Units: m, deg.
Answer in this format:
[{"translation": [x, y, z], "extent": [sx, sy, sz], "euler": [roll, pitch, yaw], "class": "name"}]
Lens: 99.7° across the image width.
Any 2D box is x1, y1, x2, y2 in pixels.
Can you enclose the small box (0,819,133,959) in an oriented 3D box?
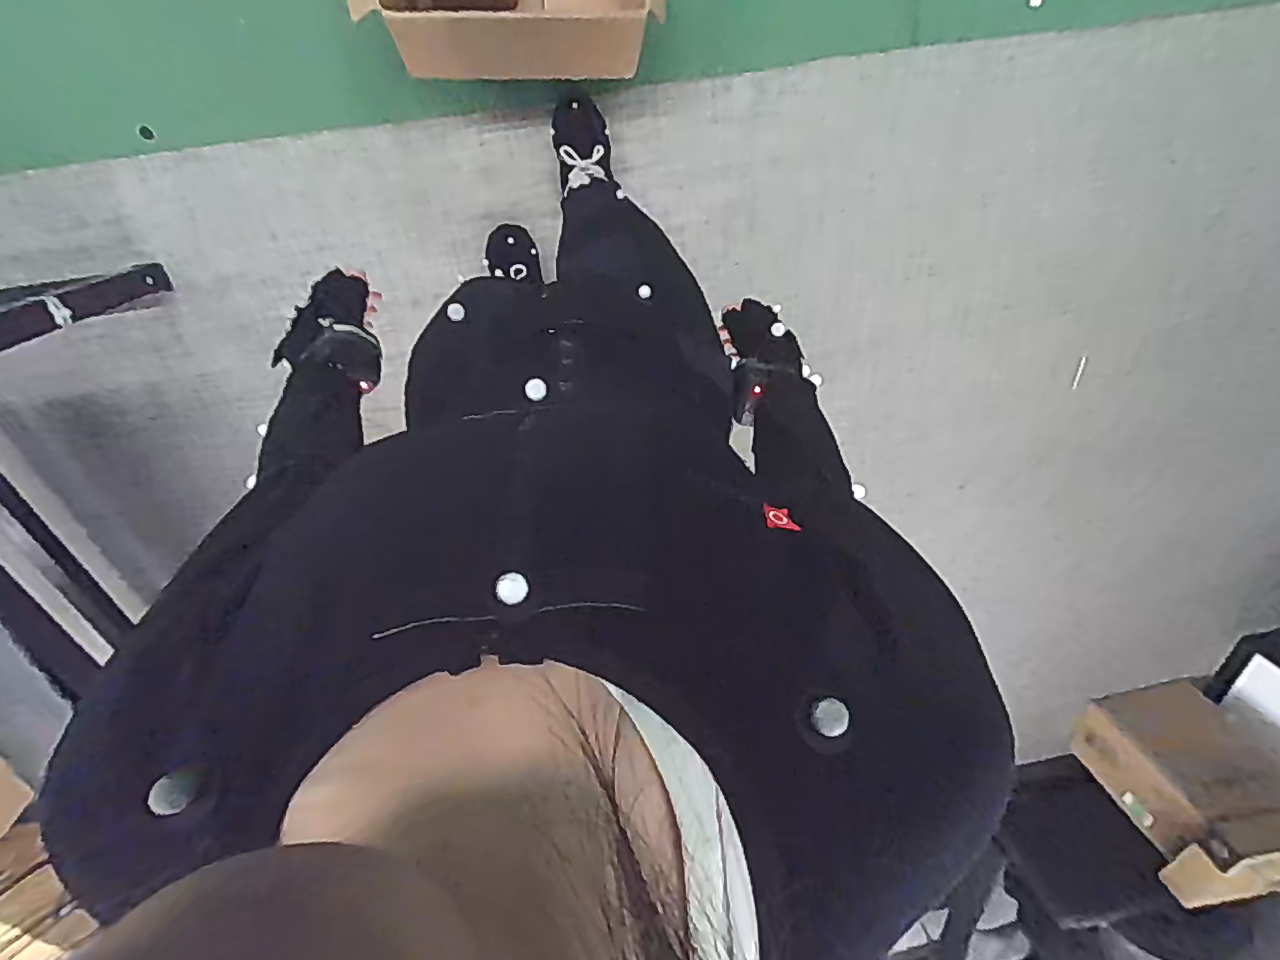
[{"translation": [-1.070, 0.725, 0.946], "extent": [0.168, 0.176, 0.179], "euler": [-15, 123, -1], "class": "small box"}]
